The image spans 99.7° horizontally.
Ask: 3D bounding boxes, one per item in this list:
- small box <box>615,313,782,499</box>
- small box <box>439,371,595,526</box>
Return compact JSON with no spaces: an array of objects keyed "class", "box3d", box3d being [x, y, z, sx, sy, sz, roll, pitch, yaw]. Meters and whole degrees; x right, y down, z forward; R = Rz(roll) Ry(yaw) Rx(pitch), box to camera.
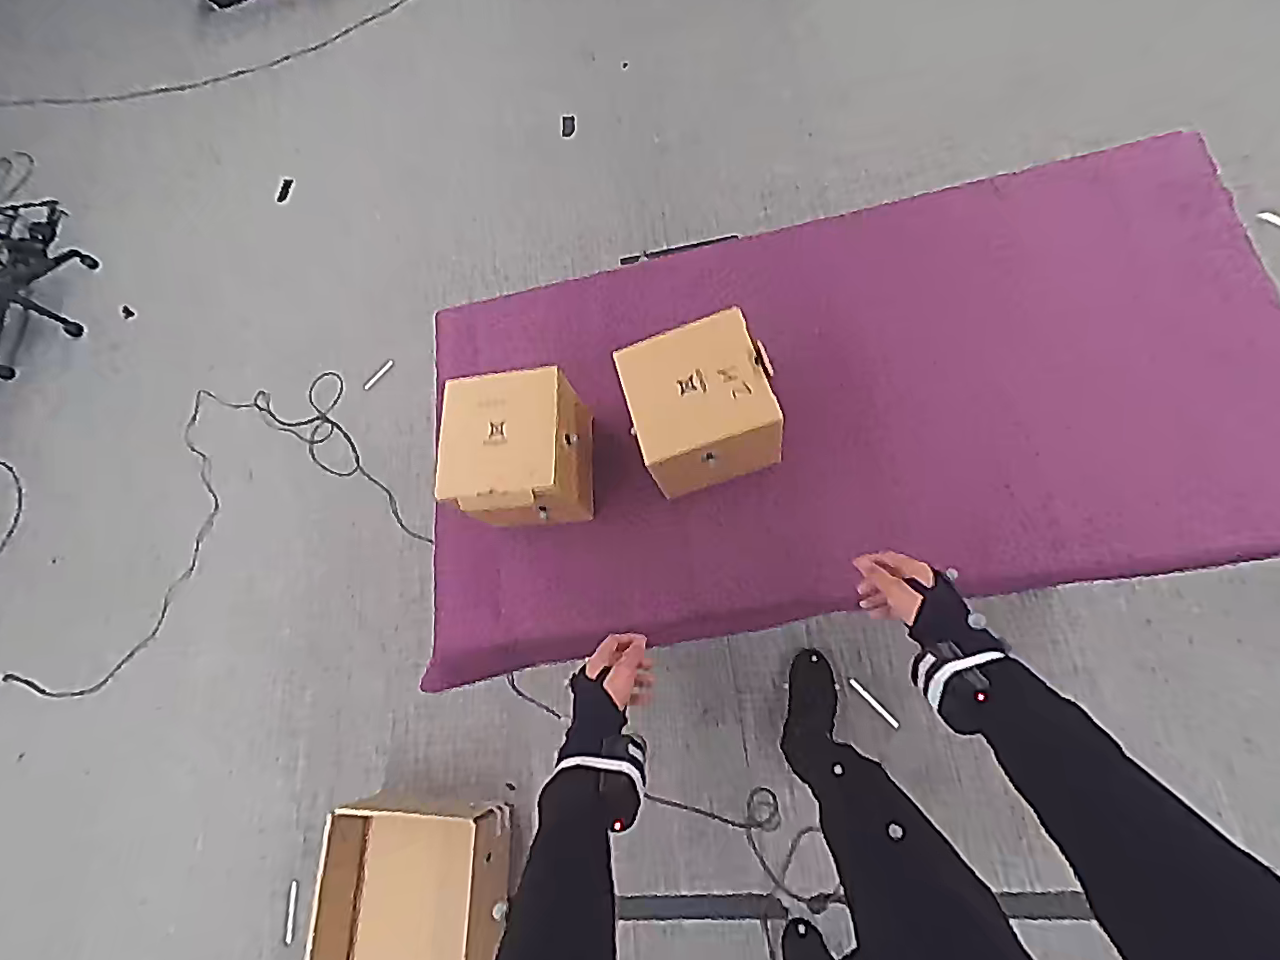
[{"class":"small box","box3d":[0.085,-0.089,0.743,0.179,0.176,0.168,-19,70,6]},{"class":"small box","box3d":[-0.166,-0.034,0.784,0.168,0.176,0.179,-5,71,11]}]
